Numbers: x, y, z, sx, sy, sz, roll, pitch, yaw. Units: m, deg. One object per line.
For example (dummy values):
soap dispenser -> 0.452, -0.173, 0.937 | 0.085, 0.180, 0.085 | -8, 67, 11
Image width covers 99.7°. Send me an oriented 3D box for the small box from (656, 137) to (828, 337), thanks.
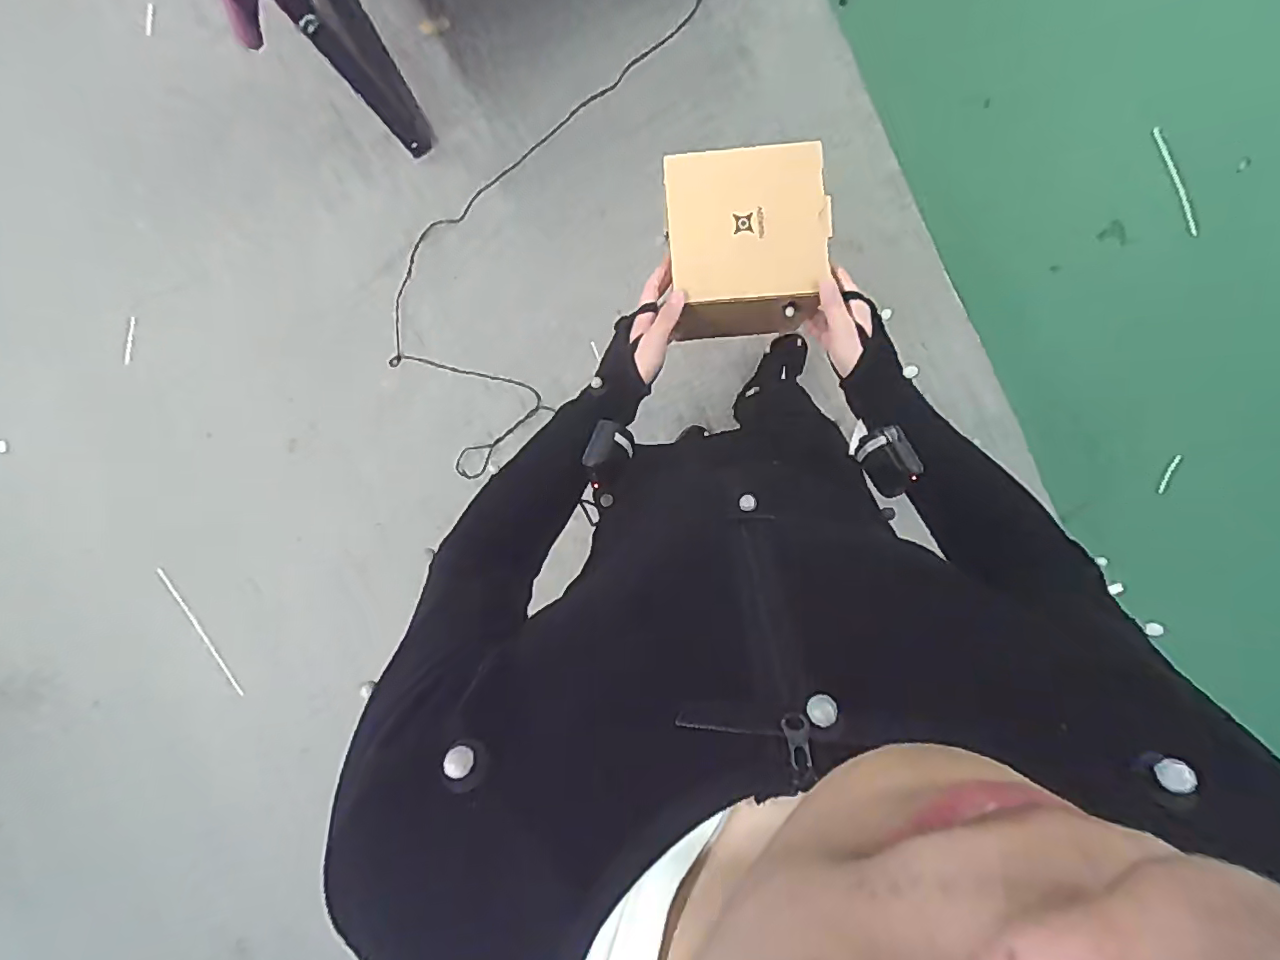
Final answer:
small box -> 0.113, -0.281, 0.663 | 0.179, 0.176, 0.168 | -5, 90, 2
